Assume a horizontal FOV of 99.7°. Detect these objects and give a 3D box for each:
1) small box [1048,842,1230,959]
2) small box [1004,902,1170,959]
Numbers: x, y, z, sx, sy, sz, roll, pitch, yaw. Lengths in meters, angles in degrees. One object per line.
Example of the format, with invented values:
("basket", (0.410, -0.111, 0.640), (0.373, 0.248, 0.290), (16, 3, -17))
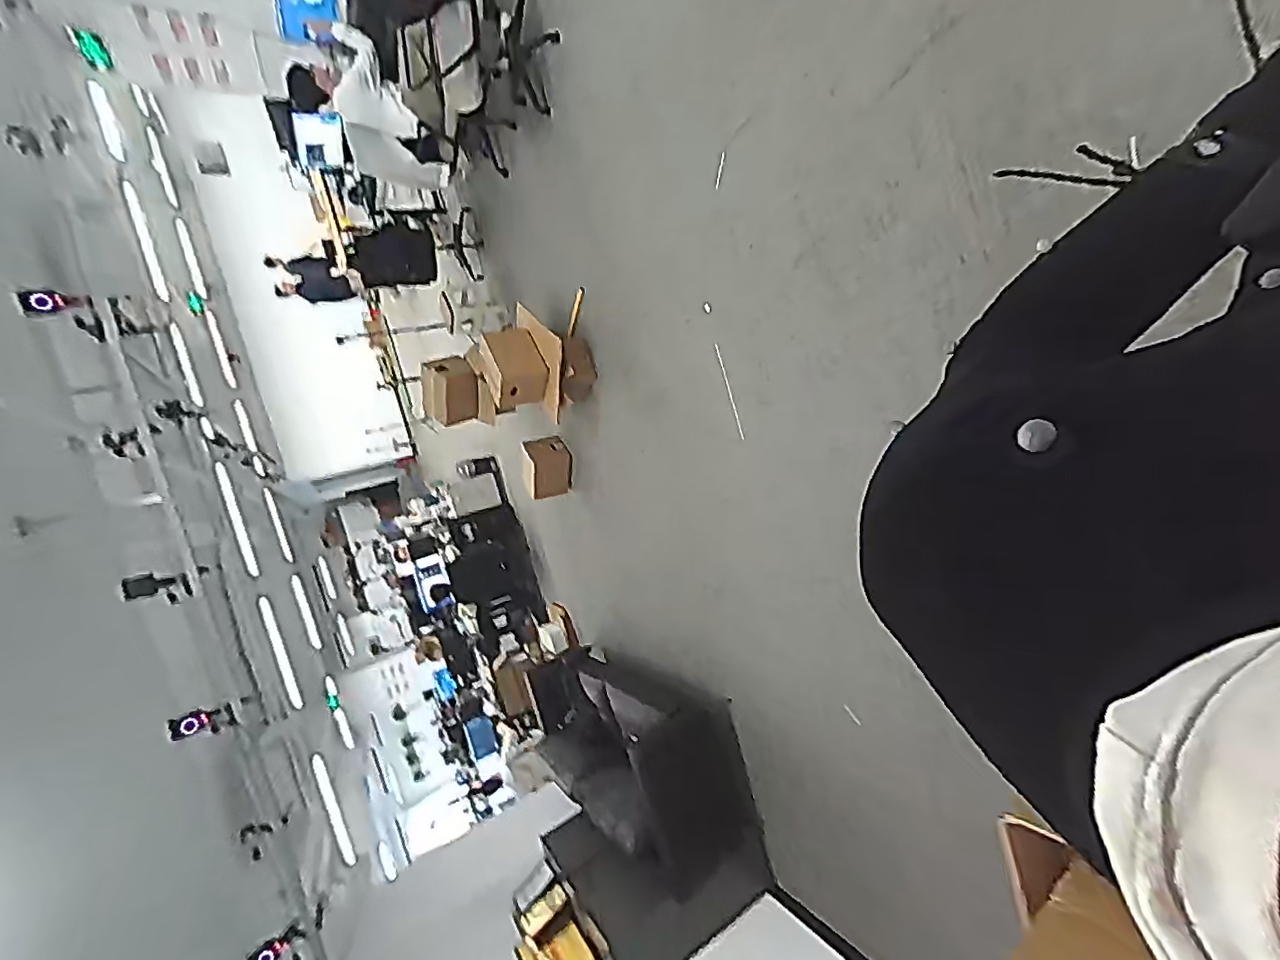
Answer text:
("small box", (0.836, 0.756, 0.903), (0.179, 0.176, 0.168), (-16, 92, 60))
("small box", (0.700, 0.804, 0.824), (0.179, 0.176, 0.168), (-17, 91, 62))
